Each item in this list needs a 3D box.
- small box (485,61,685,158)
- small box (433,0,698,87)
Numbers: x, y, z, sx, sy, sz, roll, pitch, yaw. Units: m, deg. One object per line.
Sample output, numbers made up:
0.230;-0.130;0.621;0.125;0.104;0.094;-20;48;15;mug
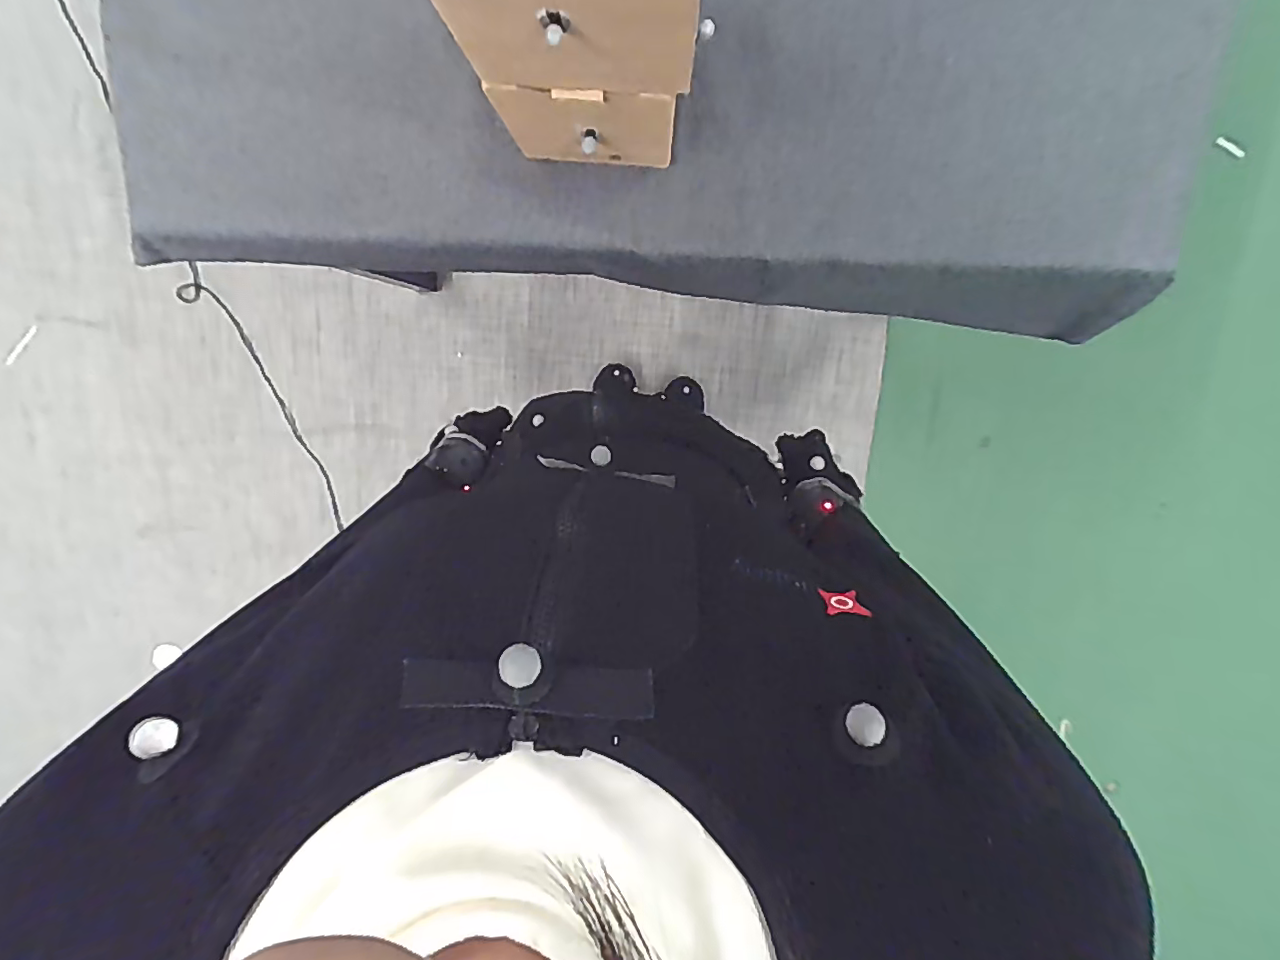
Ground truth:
-0.040;-0.428;0.513;0.168;0.176;0.179;4;103;3;small box
-0.043;-0.389;0.353;0.179;0.176;0.168;4;102;3;small box
